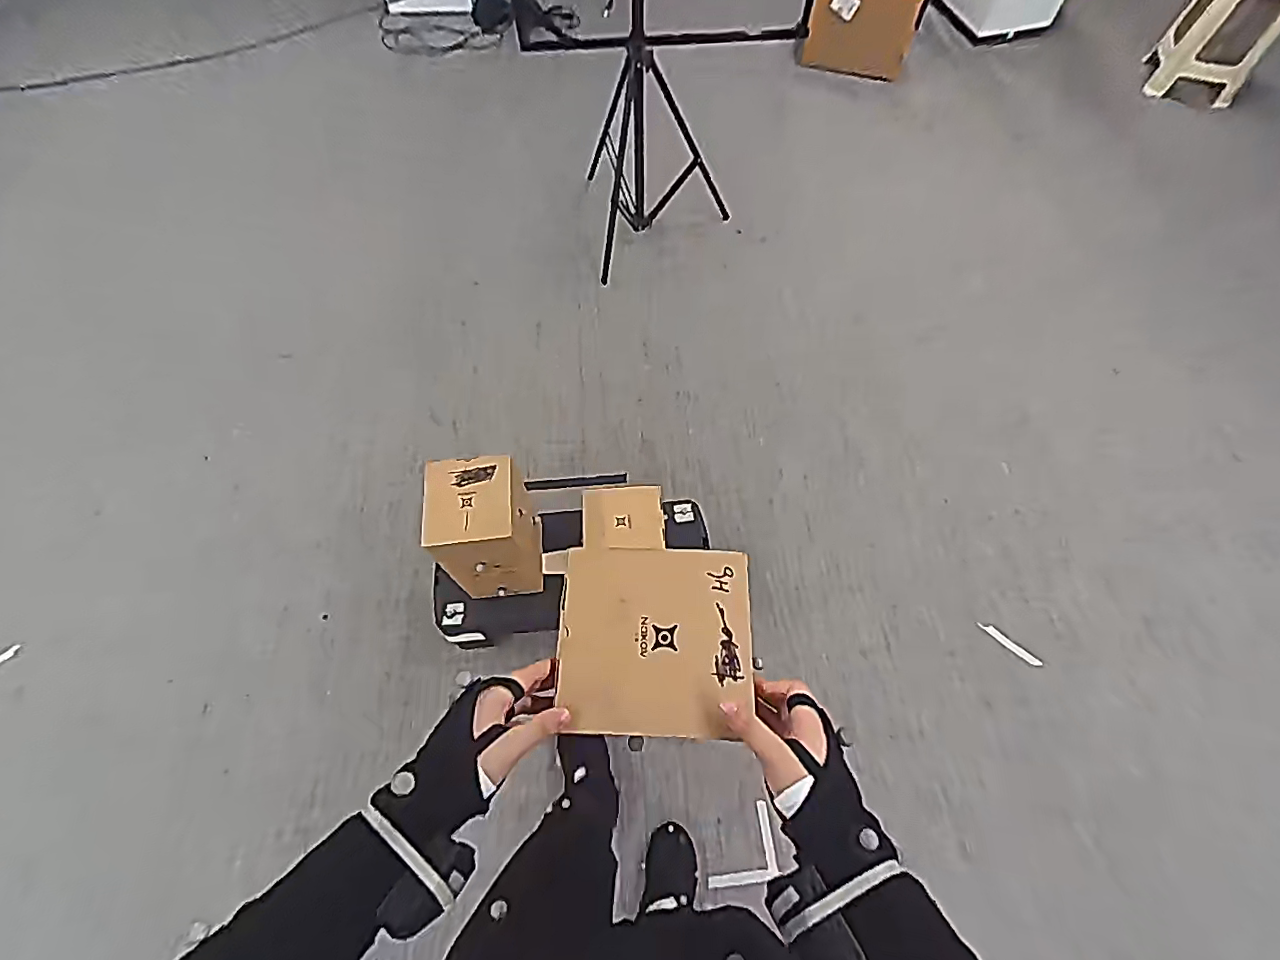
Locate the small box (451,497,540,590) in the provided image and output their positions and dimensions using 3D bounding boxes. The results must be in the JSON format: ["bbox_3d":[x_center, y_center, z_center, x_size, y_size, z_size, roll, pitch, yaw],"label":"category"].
[{"bbox_3d":[-0.315,0.156,1.222,0.168,0.176,0.179,-5,63,-2],"label":"small box"}]

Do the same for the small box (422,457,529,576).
[{"bbox_3d":[-0.319,0.076,1.078,0.168,0.176,0.179,-7,63,-3],"label":"small box"}]

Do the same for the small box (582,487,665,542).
[{"bbox_3d":[-0.035,0.130,1.235,0.179,0.176,0.168,-5,63,0],"label":"small box"}]

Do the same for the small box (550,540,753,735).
[{"bbox_3d":[0.016,0.169,0.561,0.179,0.176,0.168,1,64,2],"label":"small box"}]
